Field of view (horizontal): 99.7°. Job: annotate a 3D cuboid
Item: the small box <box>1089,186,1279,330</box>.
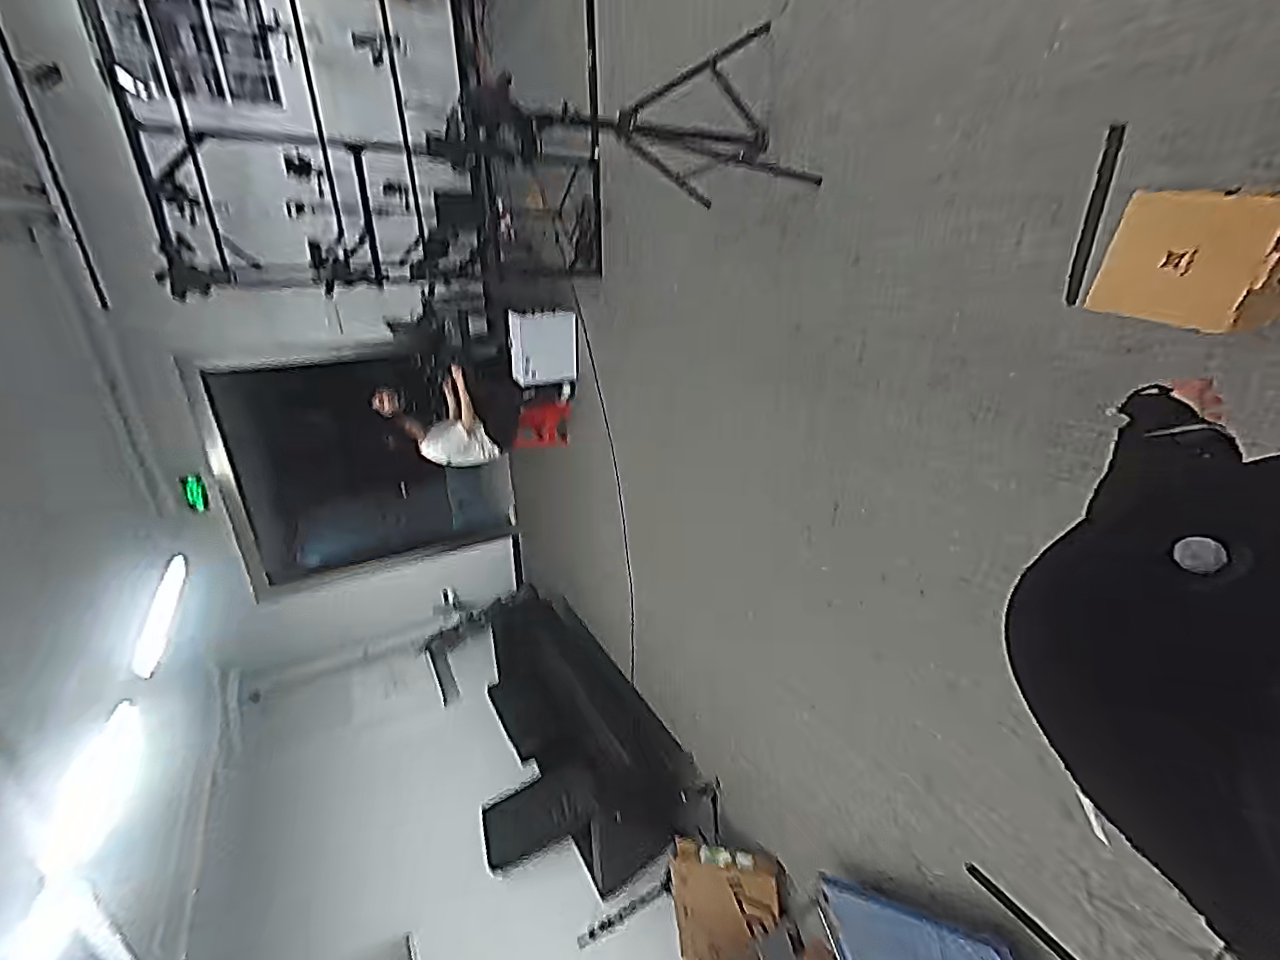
[{"bbox_3d":[0.814,-0.321,0.775,0.179,0.176,0.168,42,137,48],"label":"small box"}]
